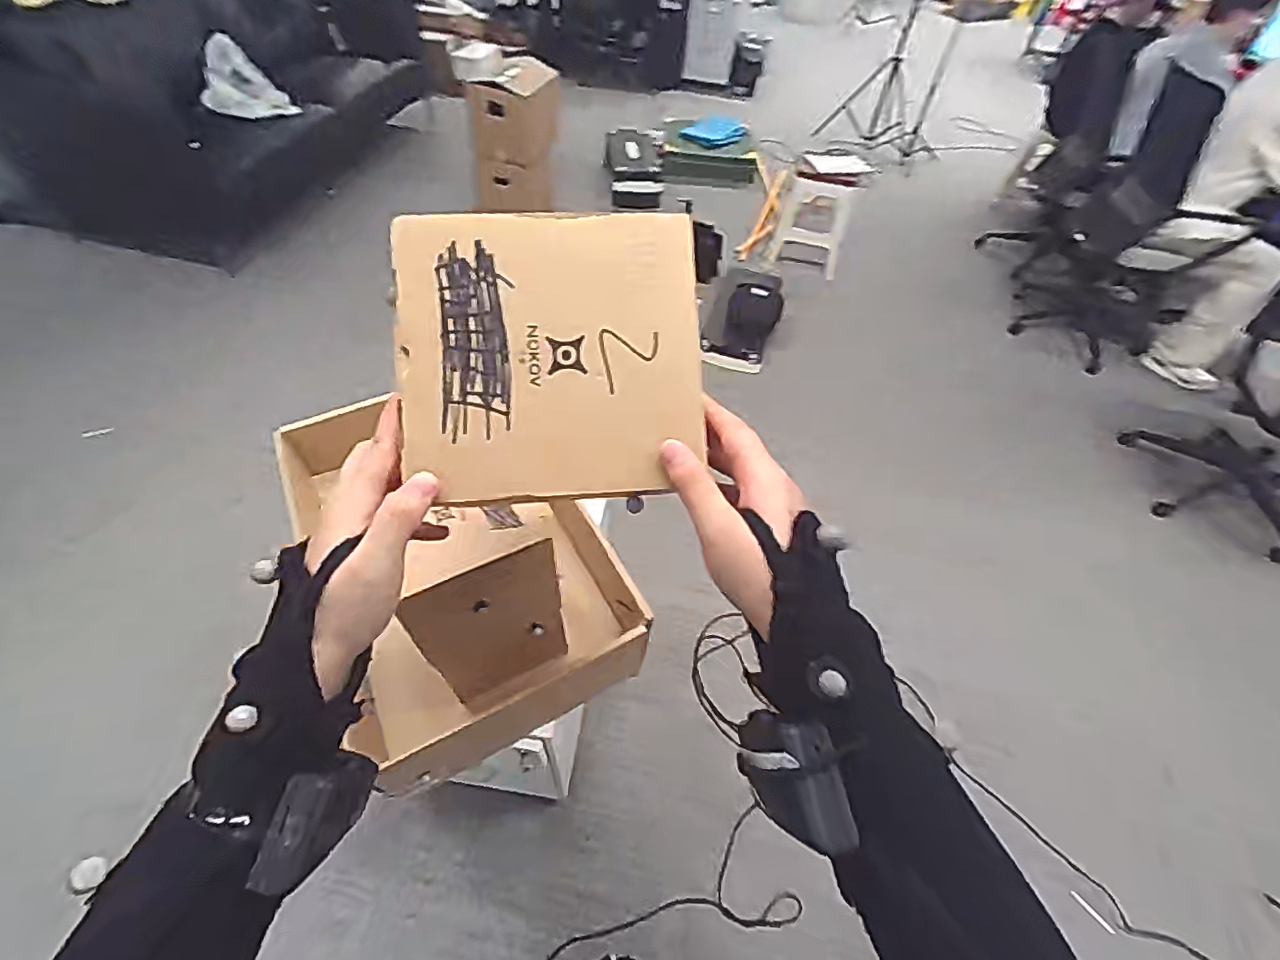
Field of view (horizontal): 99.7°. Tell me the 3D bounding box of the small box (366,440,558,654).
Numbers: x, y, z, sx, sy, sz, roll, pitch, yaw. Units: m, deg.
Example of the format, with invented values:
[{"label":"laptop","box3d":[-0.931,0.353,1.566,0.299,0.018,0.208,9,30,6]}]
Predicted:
[{"label":"small box","box3d":[-0.209,0.084,0.672,0.179,0.176,0.168,-22,54,-19]}]
